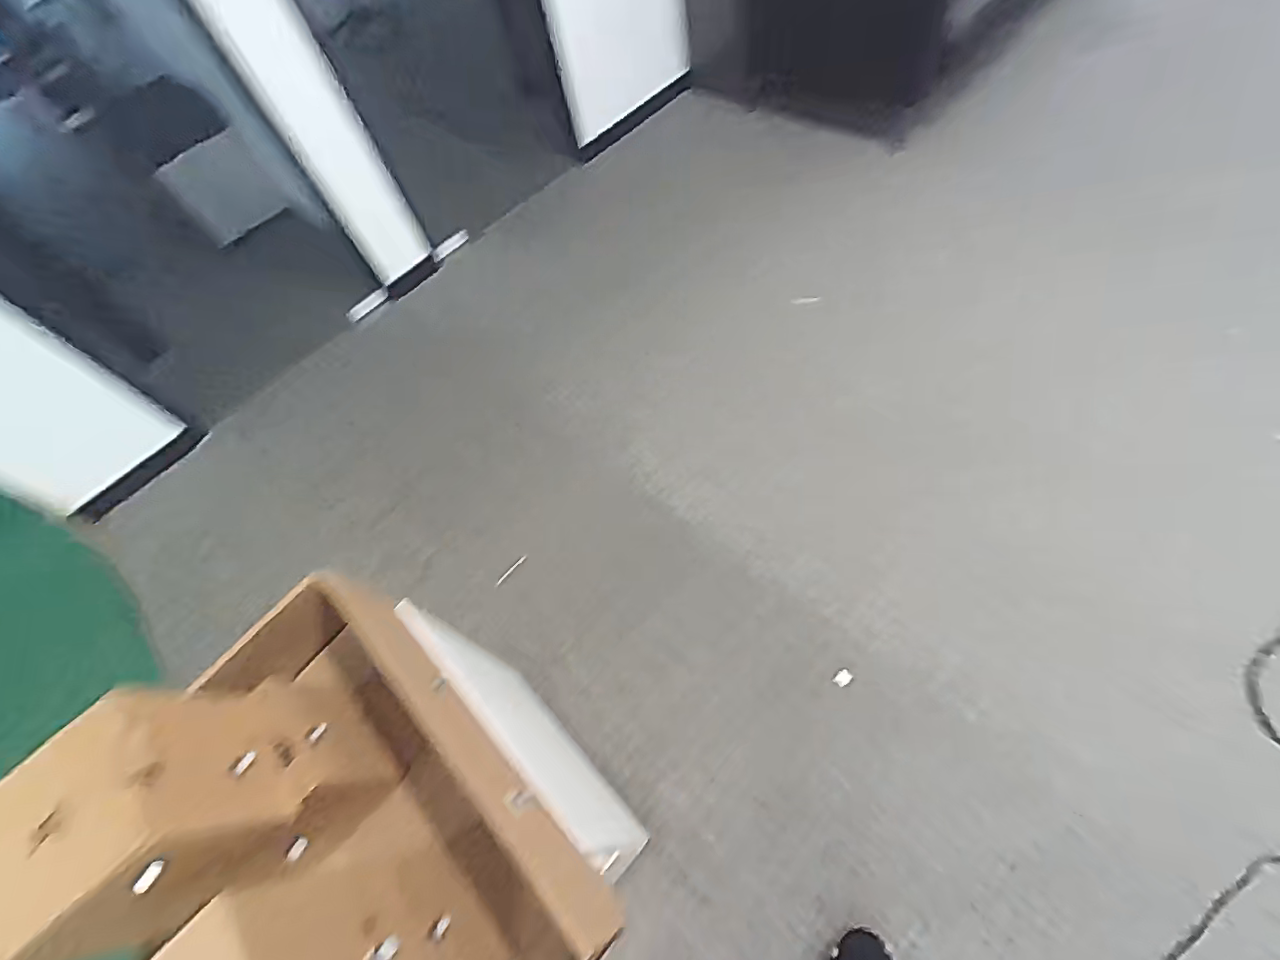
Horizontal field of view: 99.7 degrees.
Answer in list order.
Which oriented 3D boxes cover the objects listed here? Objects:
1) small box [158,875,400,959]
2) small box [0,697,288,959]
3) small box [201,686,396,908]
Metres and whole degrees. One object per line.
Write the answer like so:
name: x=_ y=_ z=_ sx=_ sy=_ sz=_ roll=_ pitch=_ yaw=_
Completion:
small box: x=-0.321 y=0.475 z=0.444 sx=0.179 sy=0.176 sz=0.168 roll=-44 pitch=62 yaw=-11
small box: x=-0.517 y=0.356 z=0.557 sx=0.179 sy=0.176 sz=0.168 roll=-42 pitch=62 yaw=-9
small box: x=-0.466 y=0.401 z=0.708 sx=0.168 sy=0.176 sz=0.179 roll=40 pitch=79 yaw=25
